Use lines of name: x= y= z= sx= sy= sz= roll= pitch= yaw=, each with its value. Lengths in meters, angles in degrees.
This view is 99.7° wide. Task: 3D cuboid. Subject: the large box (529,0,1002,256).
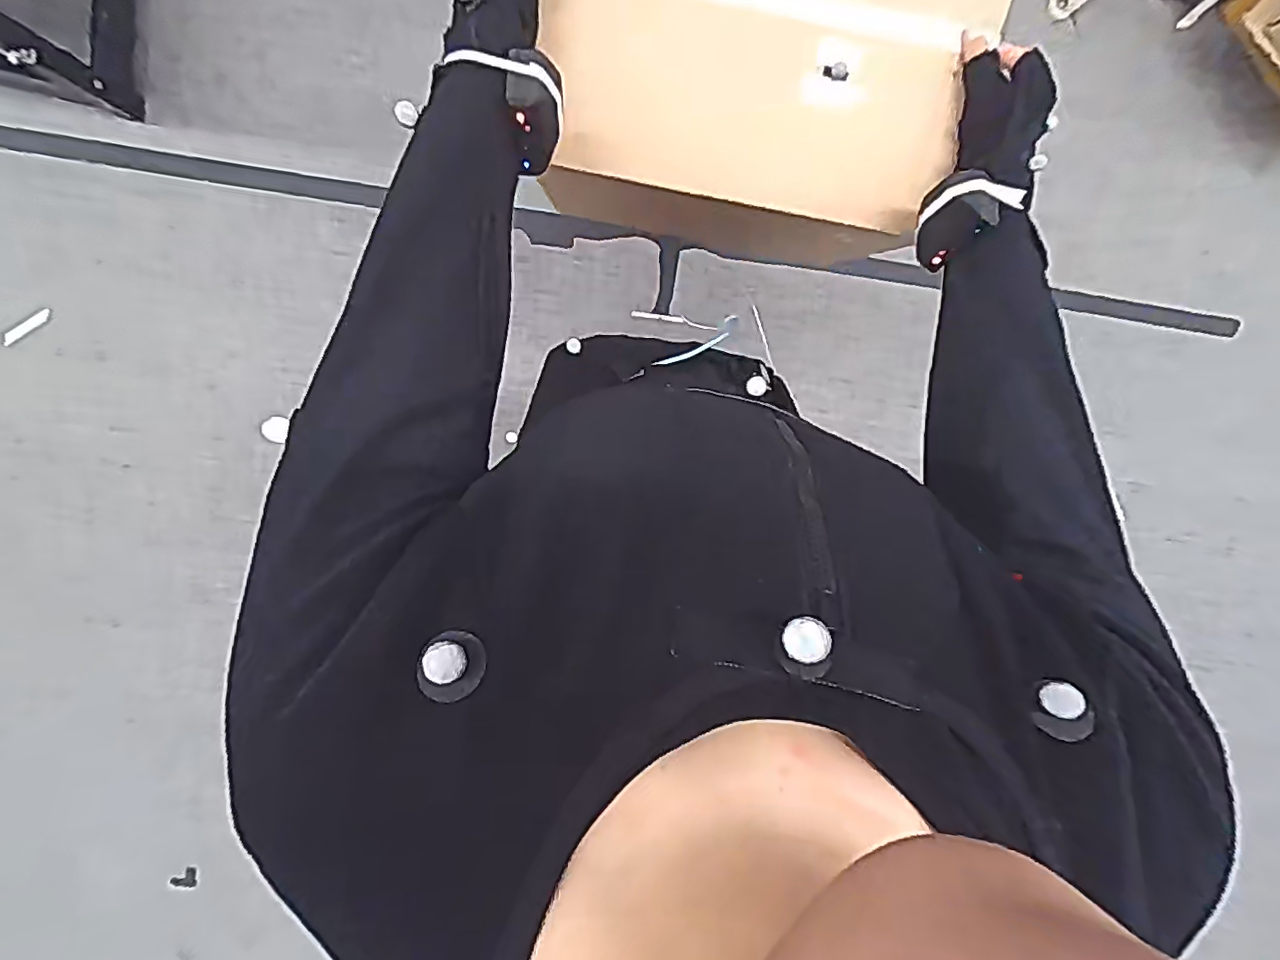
large box: x=0.109 y=-0.462 z=0.611 sx=0.408 sy=0.320 sz=0.320 roll=9 pitch=108 yaw=-5
